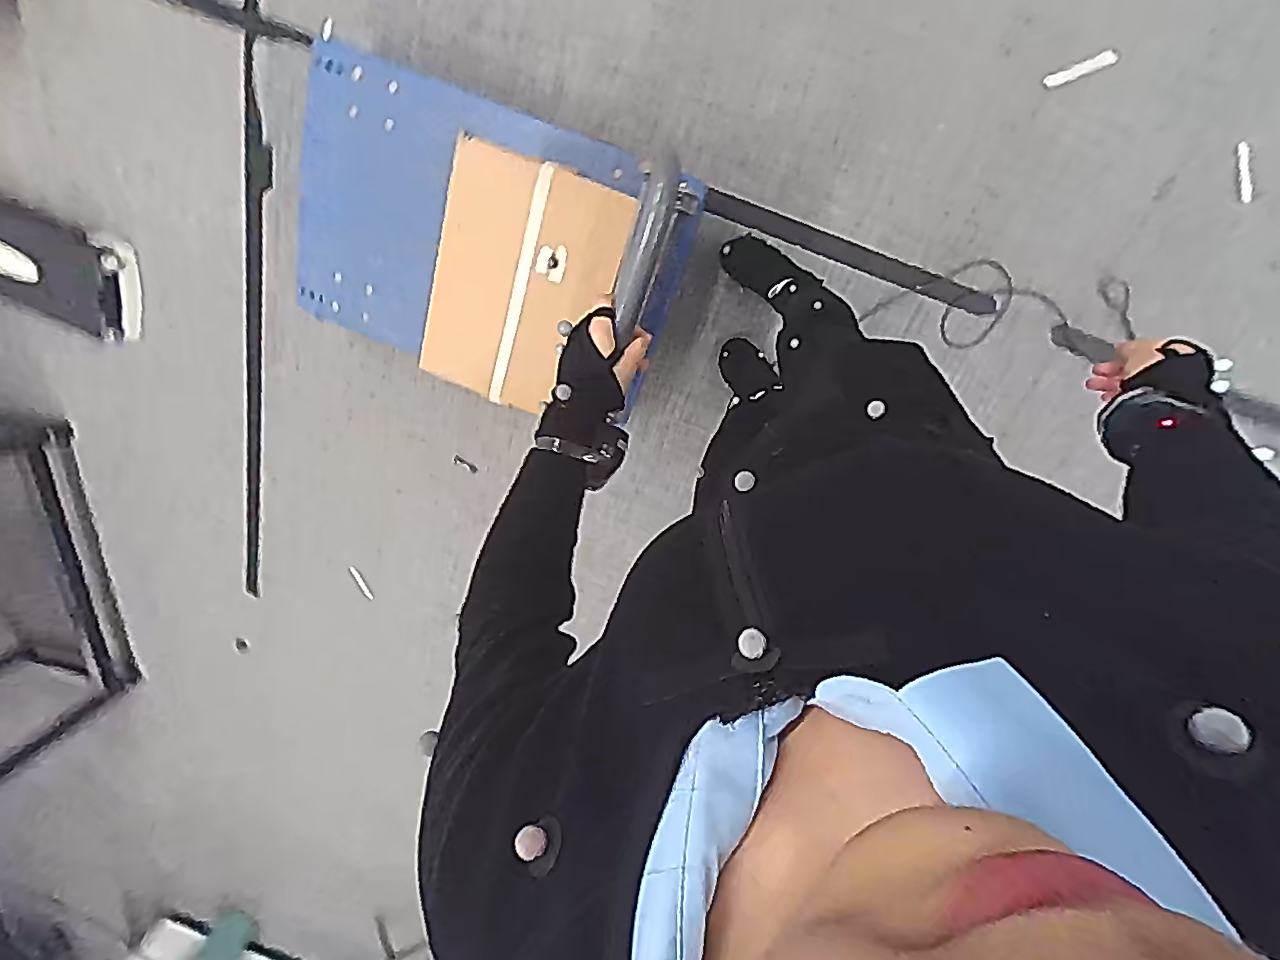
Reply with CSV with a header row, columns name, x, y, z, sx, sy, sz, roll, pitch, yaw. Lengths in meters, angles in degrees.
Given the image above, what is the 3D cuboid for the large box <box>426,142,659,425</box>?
name,x,y,z,sx,sy,sz,roll,pitch,yaw
large box,-0.183,-0.377,1.085,0.320,0.320,0.408,21,113,1
